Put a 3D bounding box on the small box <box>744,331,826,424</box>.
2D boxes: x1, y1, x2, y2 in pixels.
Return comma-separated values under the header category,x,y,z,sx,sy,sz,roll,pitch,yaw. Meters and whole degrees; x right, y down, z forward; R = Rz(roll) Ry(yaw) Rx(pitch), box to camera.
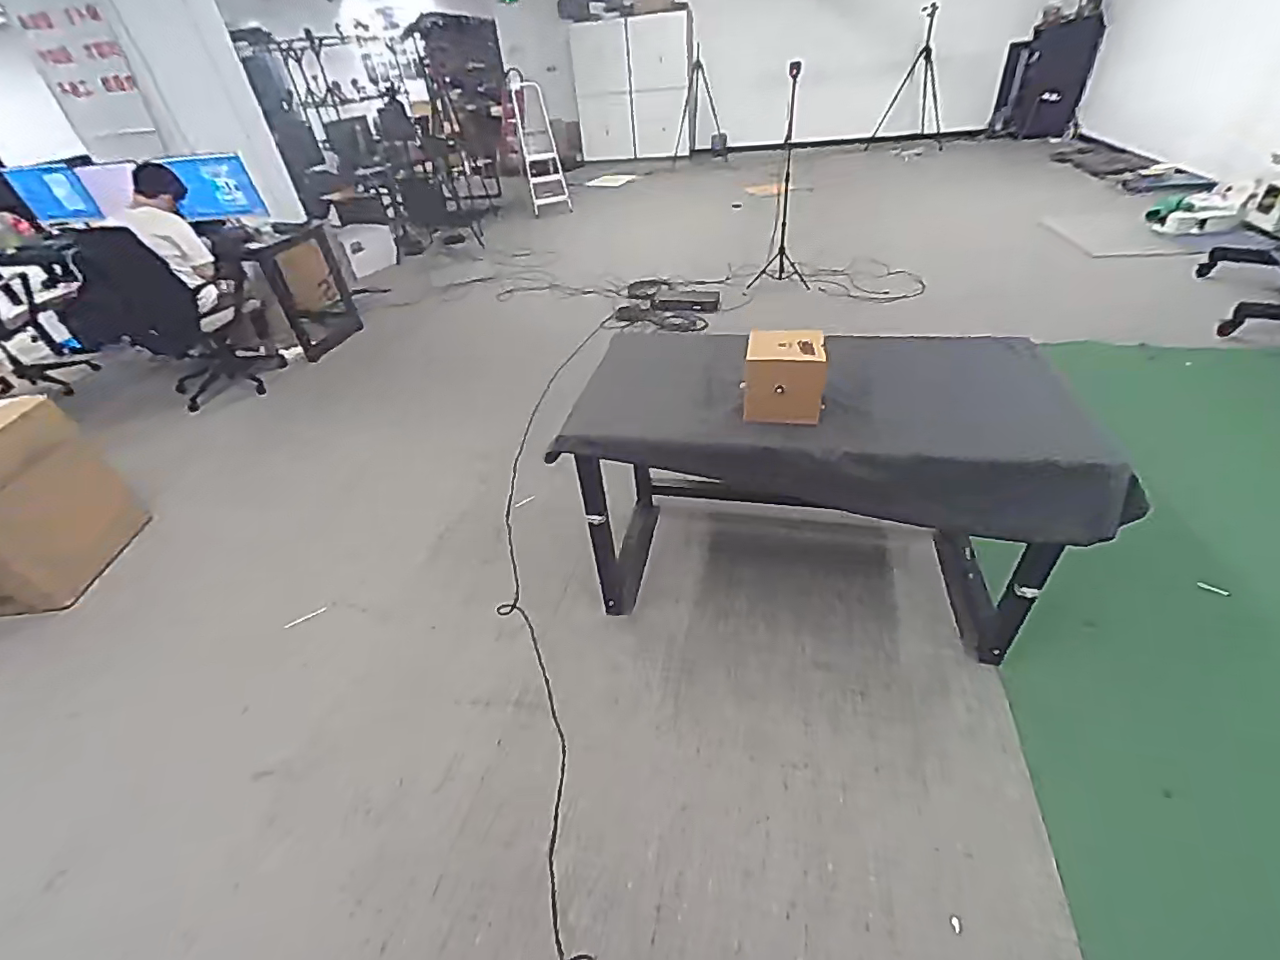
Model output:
category,x,y,z,sx,sy,sz,roll,pitch,yaw
small box,0.348,-0.249,1.315,0.179,0.176,0.168,4,39,14
